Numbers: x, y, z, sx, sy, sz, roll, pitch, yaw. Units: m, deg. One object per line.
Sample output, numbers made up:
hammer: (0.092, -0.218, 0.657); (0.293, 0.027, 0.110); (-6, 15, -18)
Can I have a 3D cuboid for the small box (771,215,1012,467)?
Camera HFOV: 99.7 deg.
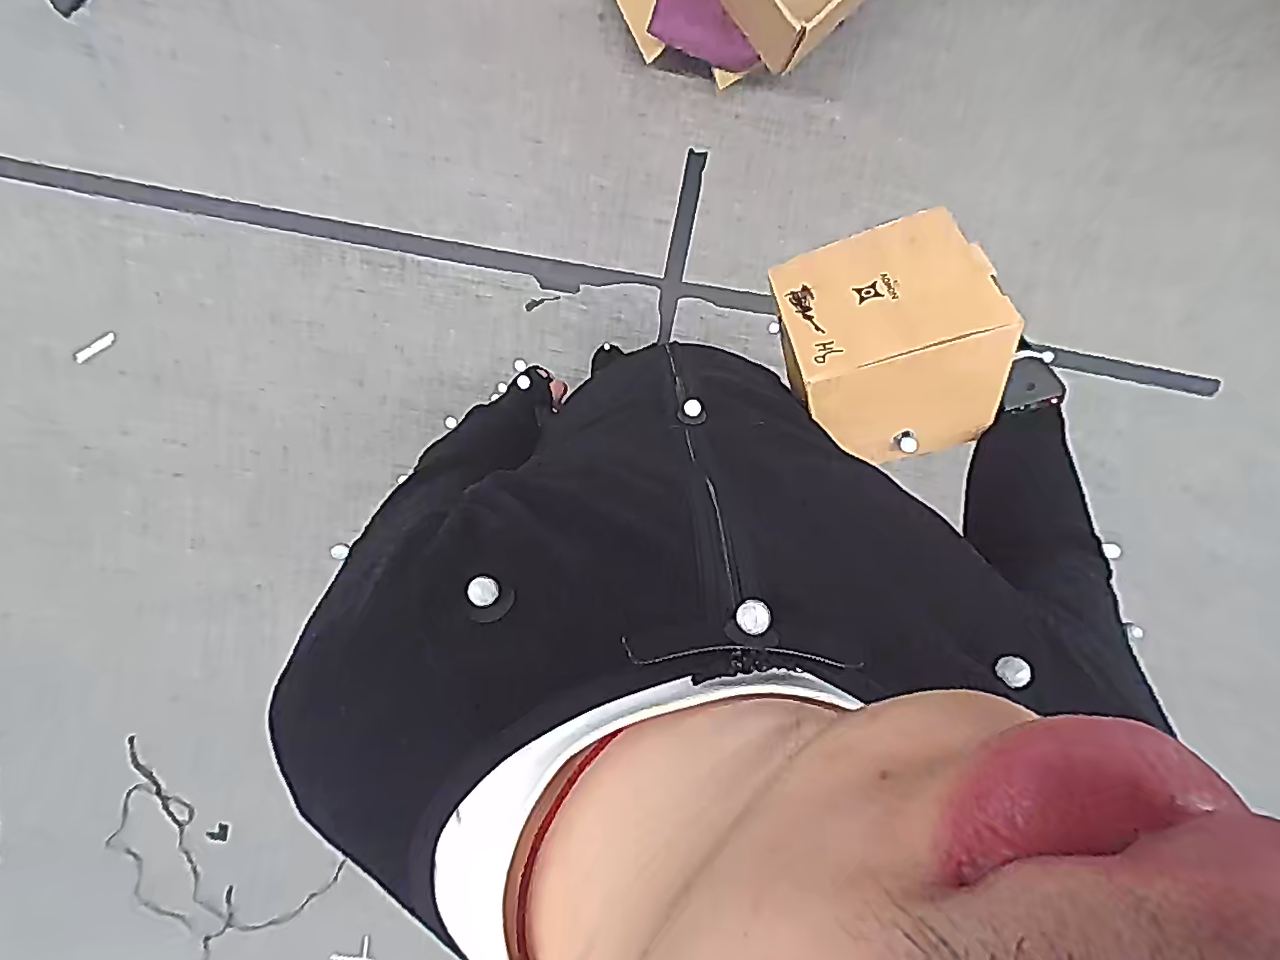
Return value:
small box: (0.252, -0.137, 0.580); (0.179, 0.168, 0.176); (-15, 145, 14)
